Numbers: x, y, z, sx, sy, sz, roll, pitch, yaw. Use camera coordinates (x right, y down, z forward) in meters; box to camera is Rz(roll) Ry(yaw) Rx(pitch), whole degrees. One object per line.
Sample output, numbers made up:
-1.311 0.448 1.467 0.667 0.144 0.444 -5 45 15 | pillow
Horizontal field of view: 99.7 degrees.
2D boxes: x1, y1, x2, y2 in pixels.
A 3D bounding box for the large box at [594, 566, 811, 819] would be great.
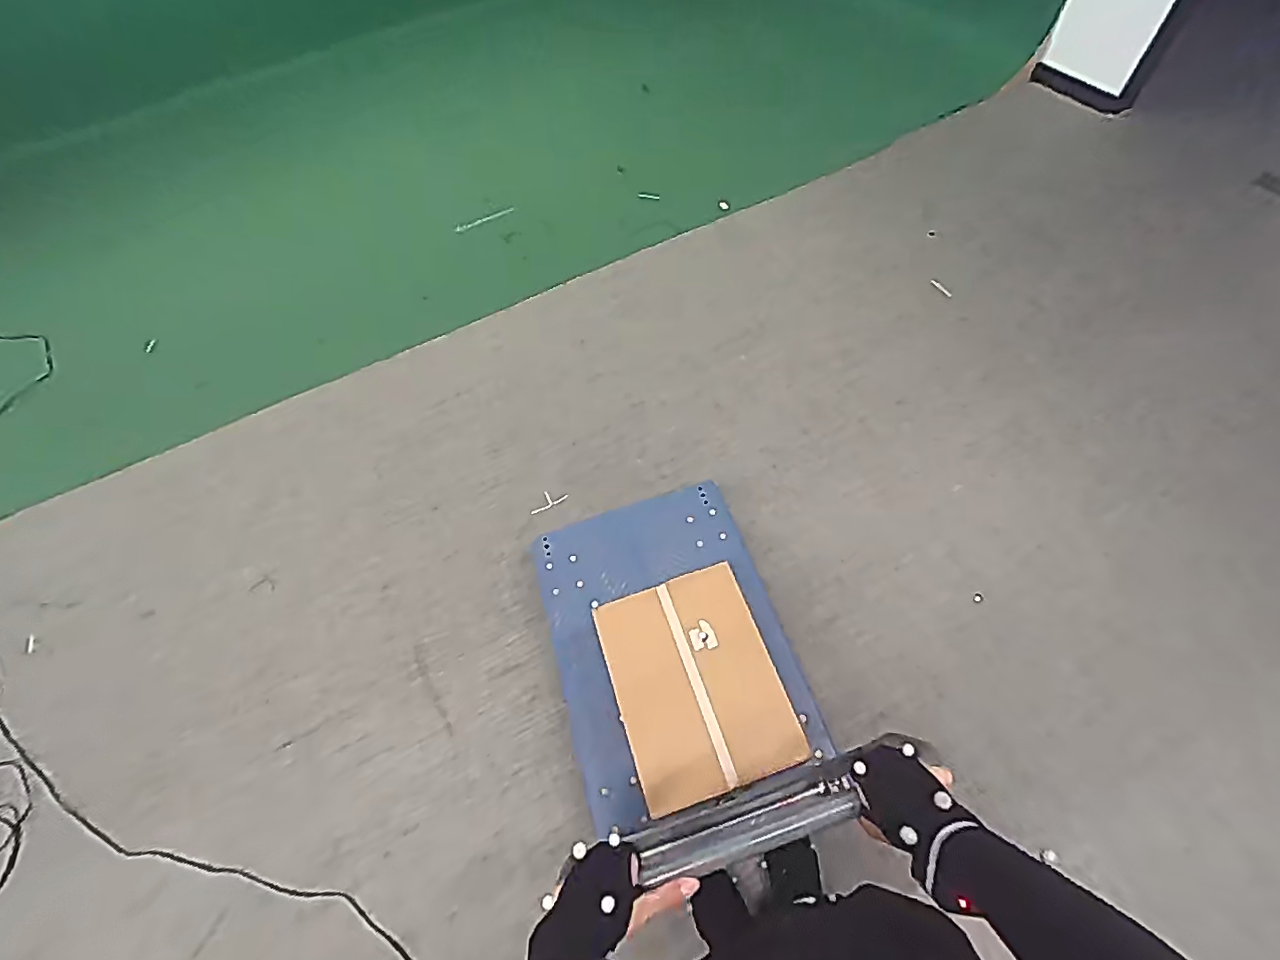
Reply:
0.123 0.467 1.189 0.320 0.320 0.408 -18 59 -5 | large box
